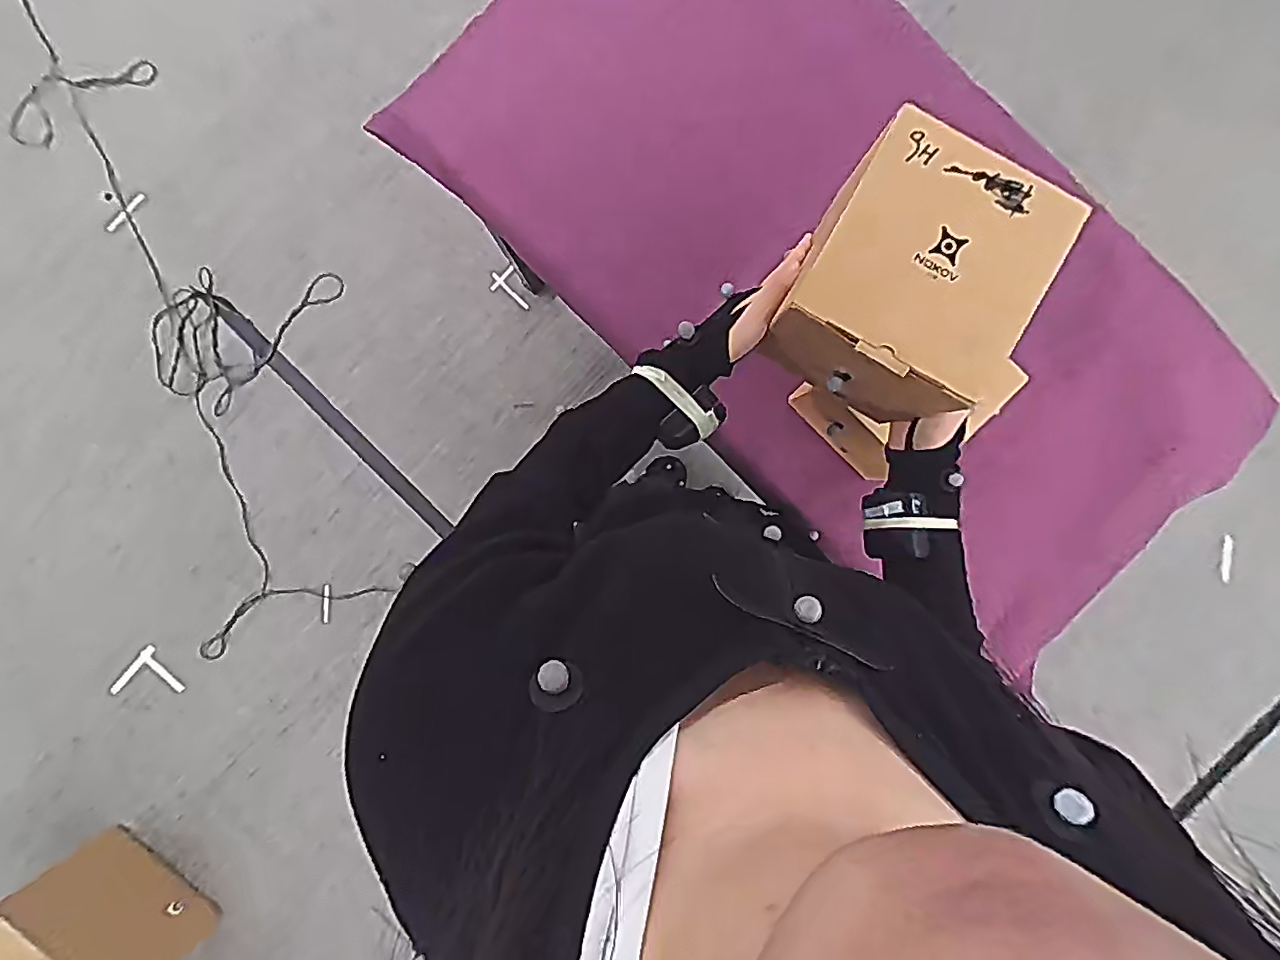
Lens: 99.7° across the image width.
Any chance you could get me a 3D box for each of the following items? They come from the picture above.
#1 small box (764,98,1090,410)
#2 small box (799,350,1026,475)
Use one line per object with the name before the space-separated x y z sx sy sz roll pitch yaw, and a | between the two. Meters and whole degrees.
small box | 0.229 -0.176 0.489 0.168 0.176 0.179 29 93 -1
small box | 0.330 -0.121 0.704 0.168 0.176 0.179 45 90 -1
